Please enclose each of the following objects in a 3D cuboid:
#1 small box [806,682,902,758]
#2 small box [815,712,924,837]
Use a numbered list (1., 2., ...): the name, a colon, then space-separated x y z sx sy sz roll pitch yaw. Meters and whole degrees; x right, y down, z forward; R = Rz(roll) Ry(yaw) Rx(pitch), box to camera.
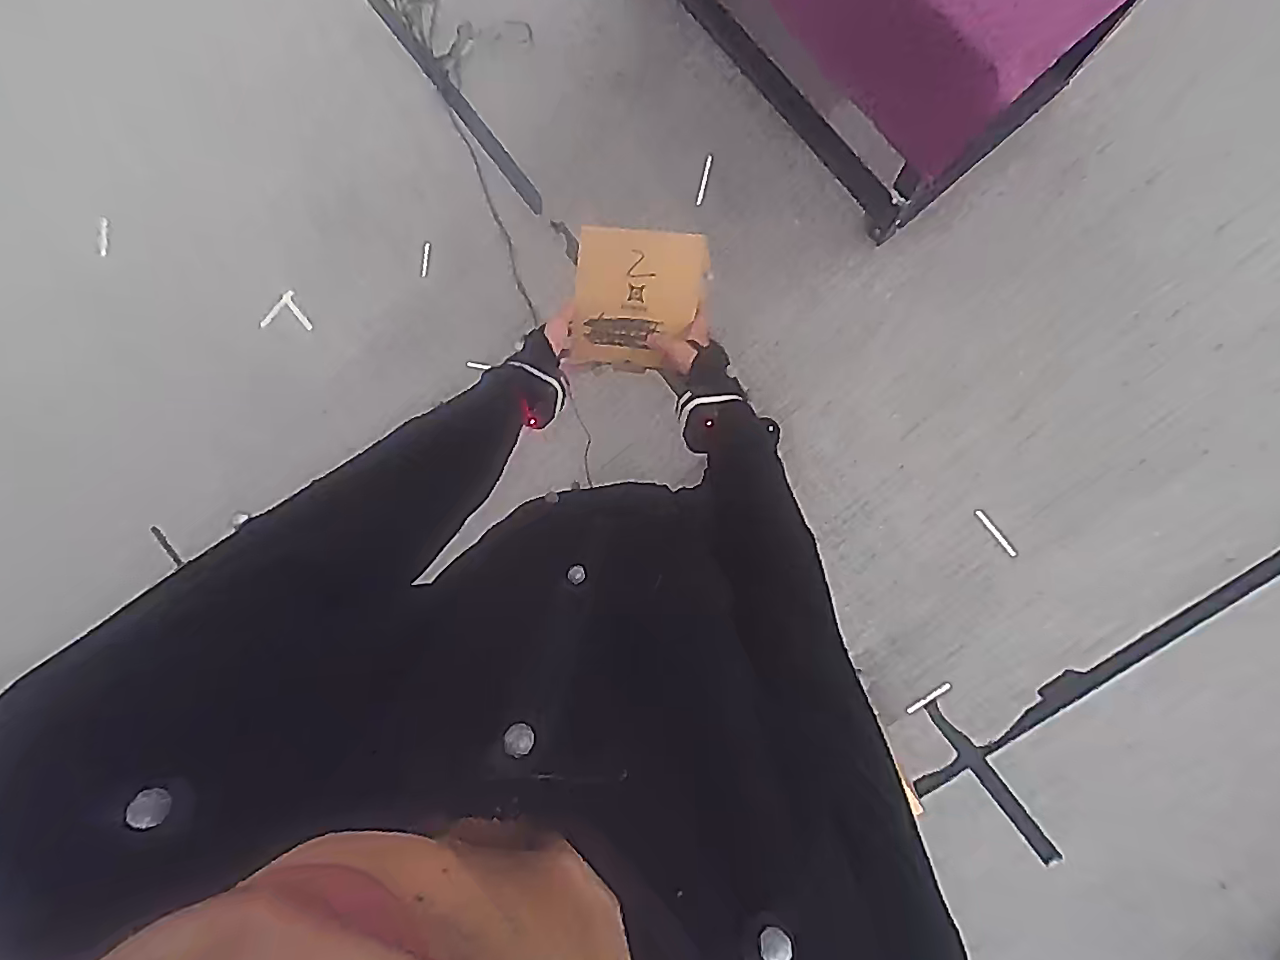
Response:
1. small box: 0.573 0.691 1.477 0.179 0.176 0.168 -40 85 11
2. small box: 0.549 0.708 1.317 0.168 0.176 0.179 -35 85 13
